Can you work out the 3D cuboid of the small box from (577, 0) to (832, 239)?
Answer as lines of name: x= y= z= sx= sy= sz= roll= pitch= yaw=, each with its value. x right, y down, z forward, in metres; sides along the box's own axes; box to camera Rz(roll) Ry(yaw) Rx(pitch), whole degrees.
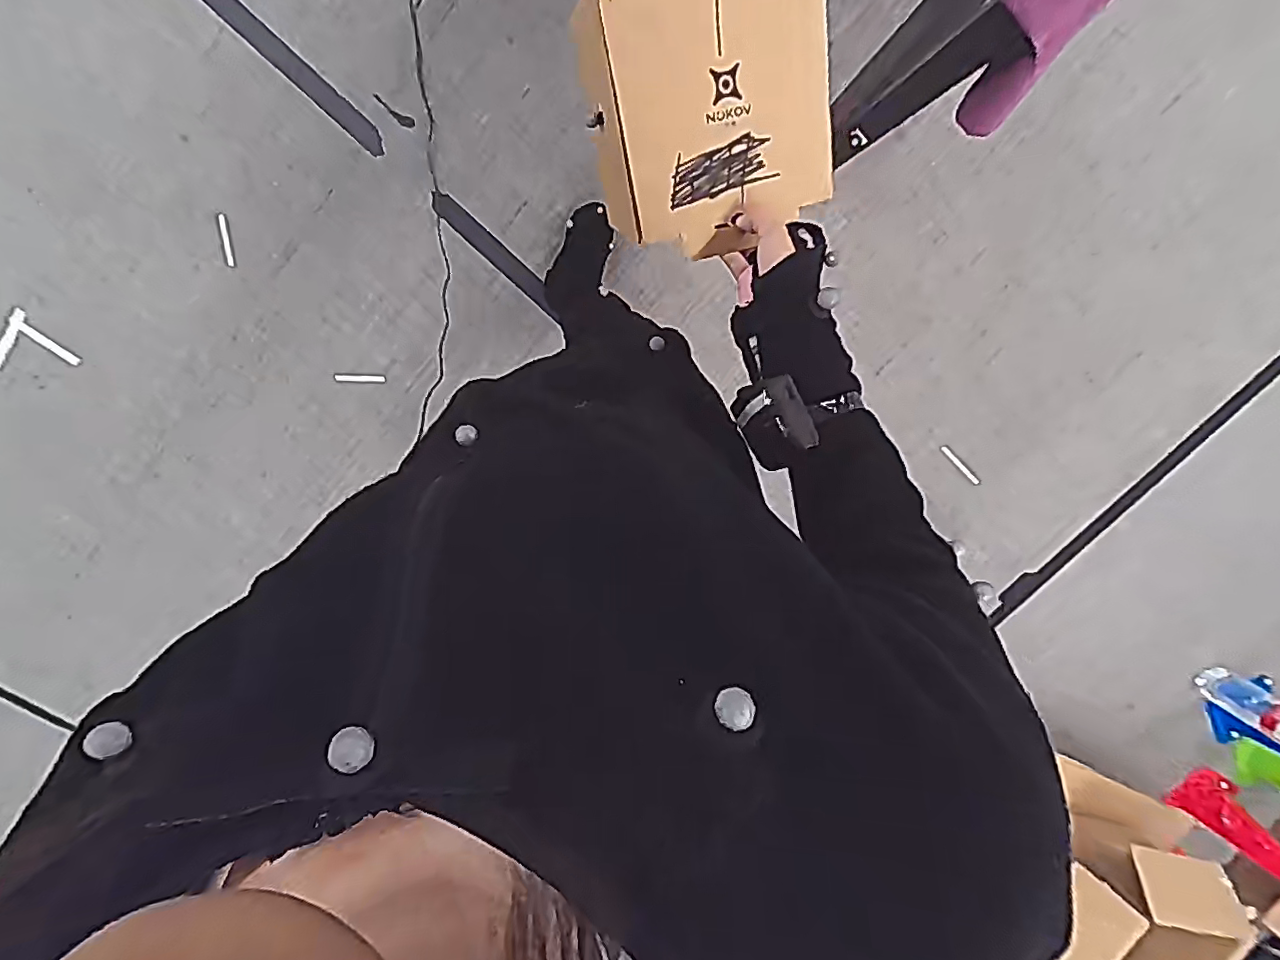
small box: x=0.049 y=-0.328 z=0.470 sx=0.168 sy=0.176 sz=0.179 roll=-16 pitch=121 yaw=-5
